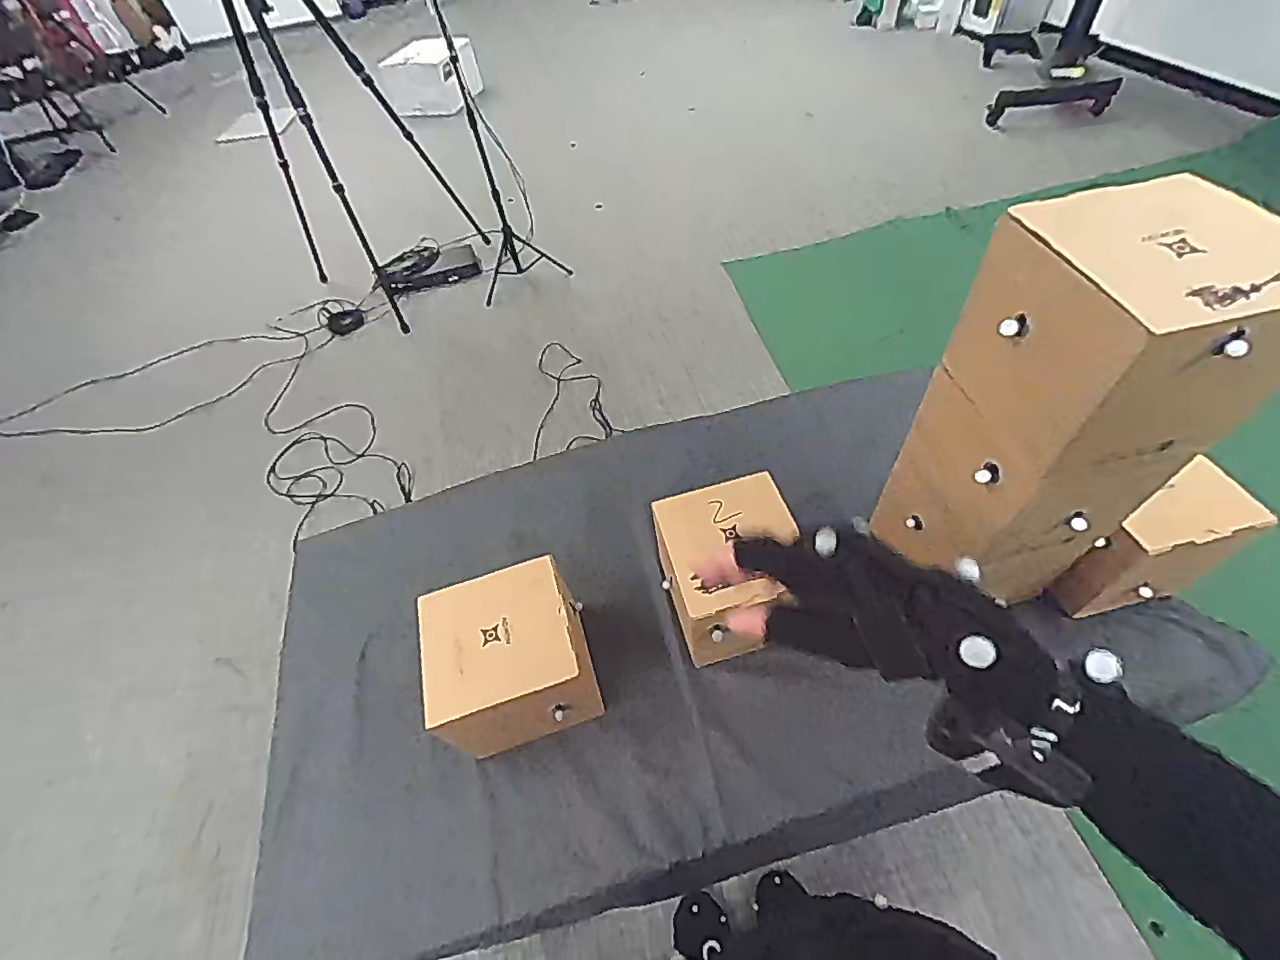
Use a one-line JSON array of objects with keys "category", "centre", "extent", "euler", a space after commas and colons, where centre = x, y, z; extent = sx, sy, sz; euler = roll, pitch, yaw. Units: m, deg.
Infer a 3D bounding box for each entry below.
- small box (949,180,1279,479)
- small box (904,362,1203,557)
[{"category": "small box", "centre": [0.411, -0.128, 0.475], "extent": [0.168, 0.176, 0.179], "euler": [-12, 51, 0]}, {"category": "small box", "centre": [0.431, -0.030, 0.605], "extent": [0.168, 0.176, 0.179], "euler": [-13, 52, -2]}]
